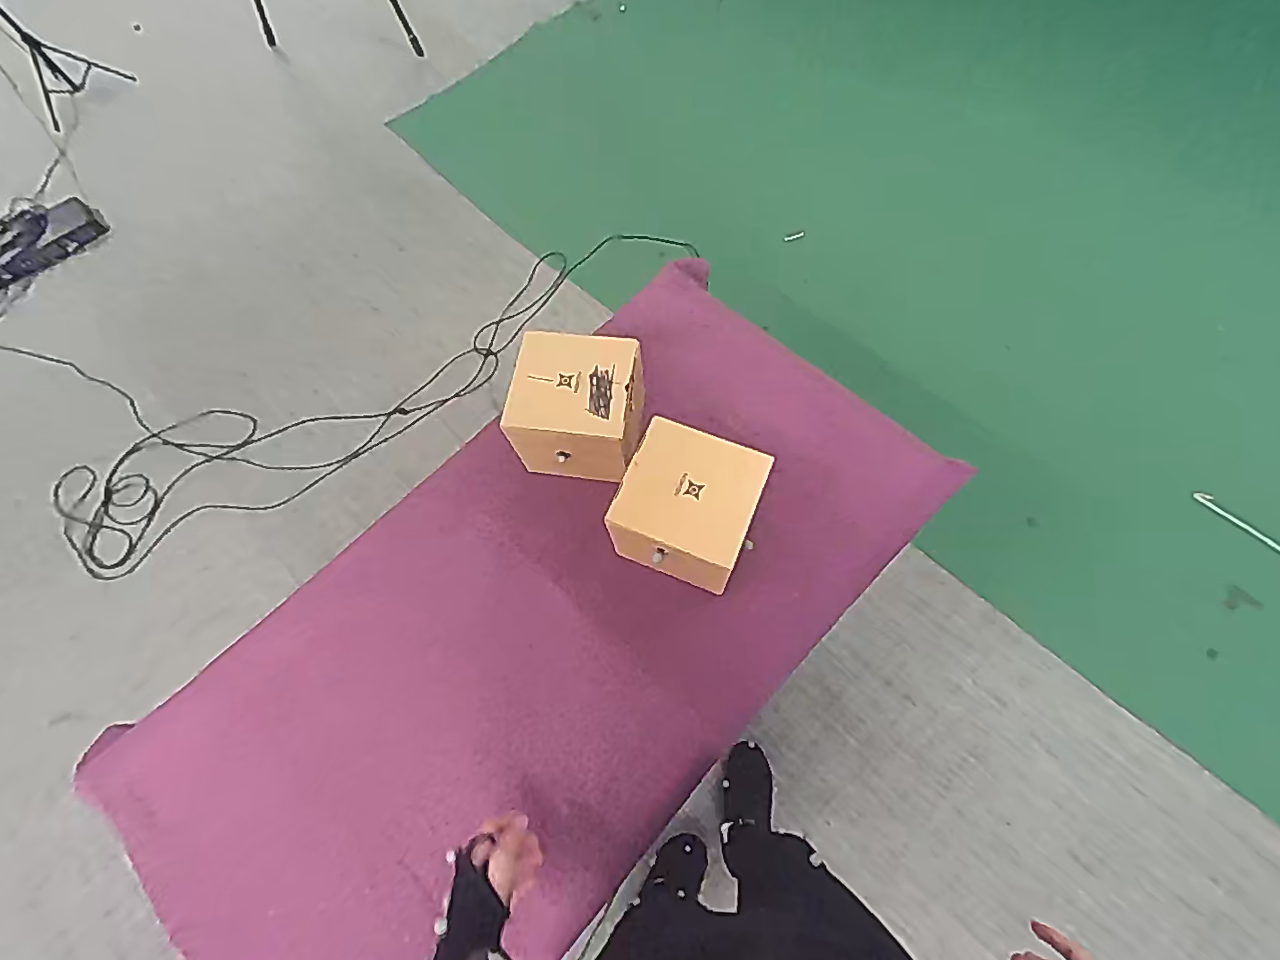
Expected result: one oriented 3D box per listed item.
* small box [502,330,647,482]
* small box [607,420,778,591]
[{"bbox_3d":[-0.088,-0.106,0.839,0.179,0.176,0.168,7,68,7],"label":"small box"},{"bbox_3d":[0.075,0.046,0.767,0.179,0.176,0.168,21,71,13],"label":"small box"}]
